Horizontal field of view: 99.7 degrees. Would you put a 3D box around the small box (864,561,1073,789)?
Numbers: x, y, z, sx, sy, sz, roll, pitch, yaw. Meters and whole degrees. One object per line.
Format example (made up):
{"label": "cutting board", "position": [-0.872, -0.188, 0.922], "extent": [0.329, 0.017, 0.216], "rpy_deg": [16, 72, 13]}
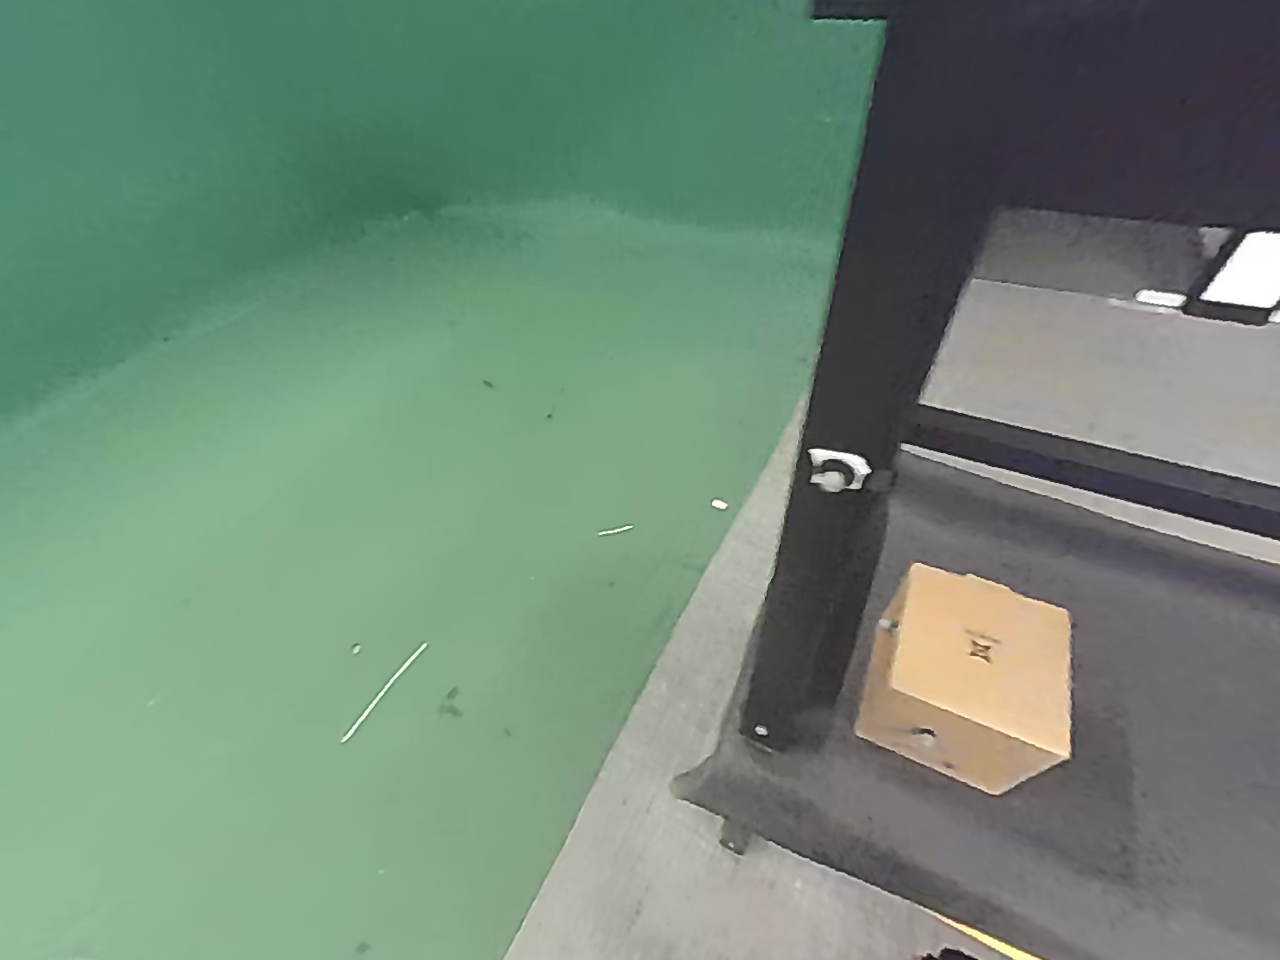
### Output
{"label": "small box", "position": [0.382, 0.234, 0.647], "extent": [0.168, 0.176, 0.179], "rpy_deg": [18, 52, 20]}
